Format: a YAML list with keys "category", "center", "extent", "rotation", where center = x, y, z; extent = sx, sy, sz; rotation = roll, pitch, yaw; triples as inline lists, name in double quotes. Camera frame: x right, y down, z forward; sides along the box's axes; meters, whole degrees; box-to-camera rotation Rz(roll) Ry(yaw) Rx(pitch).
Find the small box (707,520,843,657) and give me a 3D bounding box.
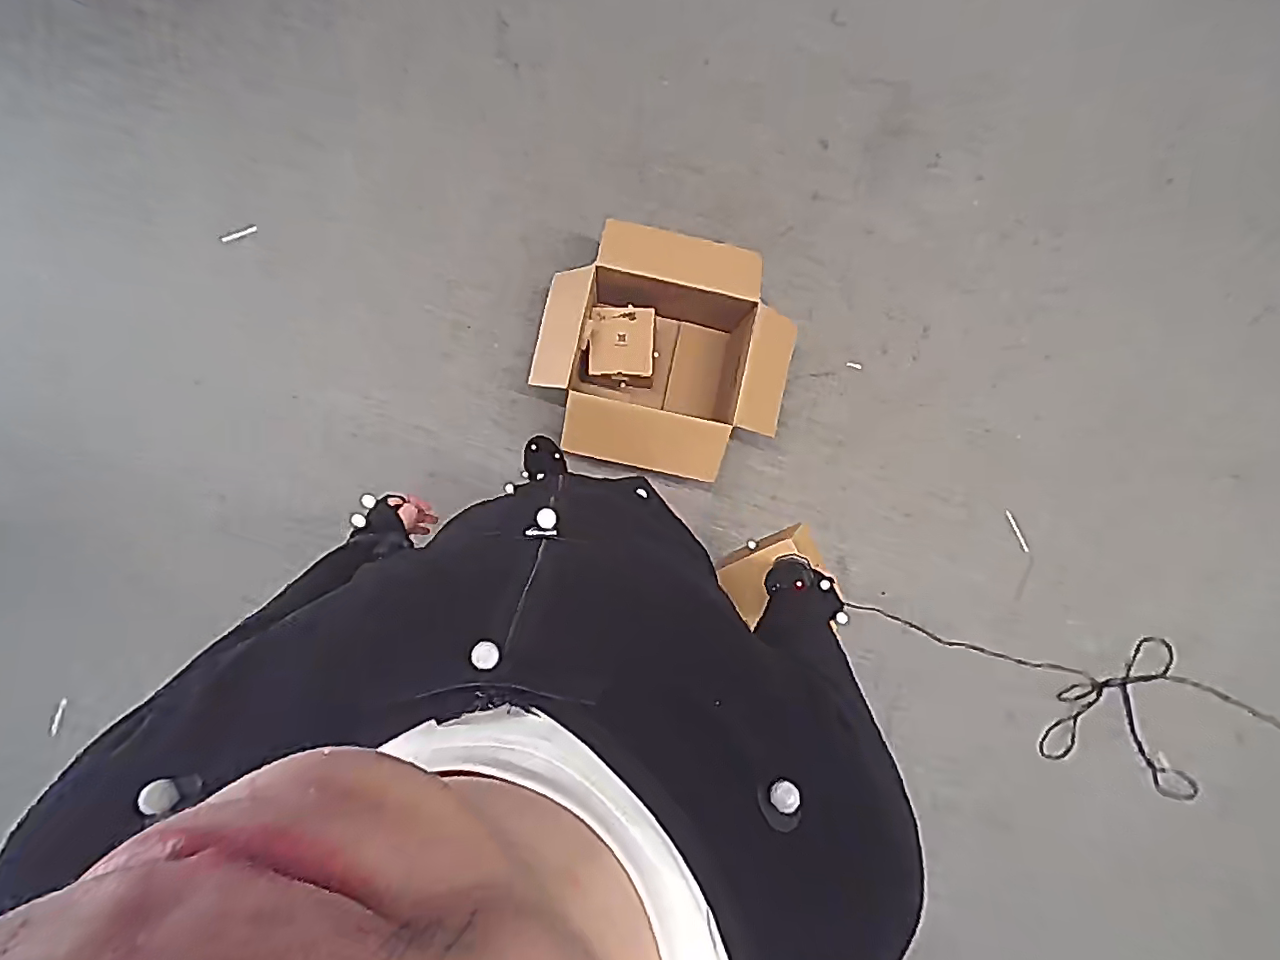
- category: "small box"
  center: [0.238, 0.190, 0.959]
  extent: [0.176, 0.179, 0.168]
  rotation: [-29, 83, 21]
